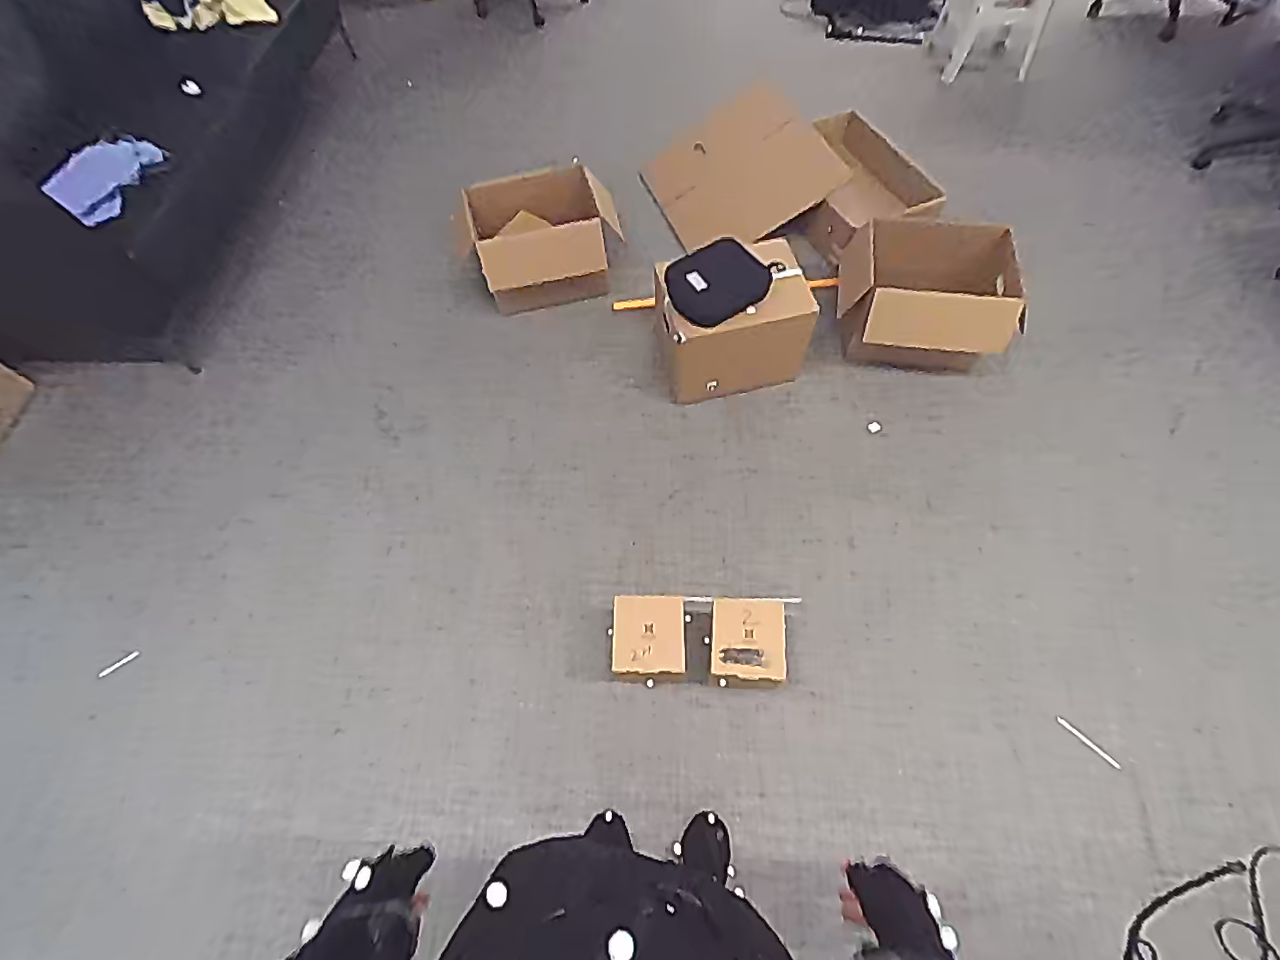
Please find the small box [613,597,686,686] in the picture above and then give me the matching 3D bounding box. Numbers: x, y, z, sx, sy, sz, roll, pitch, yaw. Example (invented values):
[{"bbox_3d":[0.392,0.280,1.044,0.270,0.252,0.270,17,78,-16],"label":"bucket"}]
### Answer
[{"bbox_3d":[0.026,0.394,1.310,0.168,0.176,0.179,-1,62,4],"label":"small box"}]
